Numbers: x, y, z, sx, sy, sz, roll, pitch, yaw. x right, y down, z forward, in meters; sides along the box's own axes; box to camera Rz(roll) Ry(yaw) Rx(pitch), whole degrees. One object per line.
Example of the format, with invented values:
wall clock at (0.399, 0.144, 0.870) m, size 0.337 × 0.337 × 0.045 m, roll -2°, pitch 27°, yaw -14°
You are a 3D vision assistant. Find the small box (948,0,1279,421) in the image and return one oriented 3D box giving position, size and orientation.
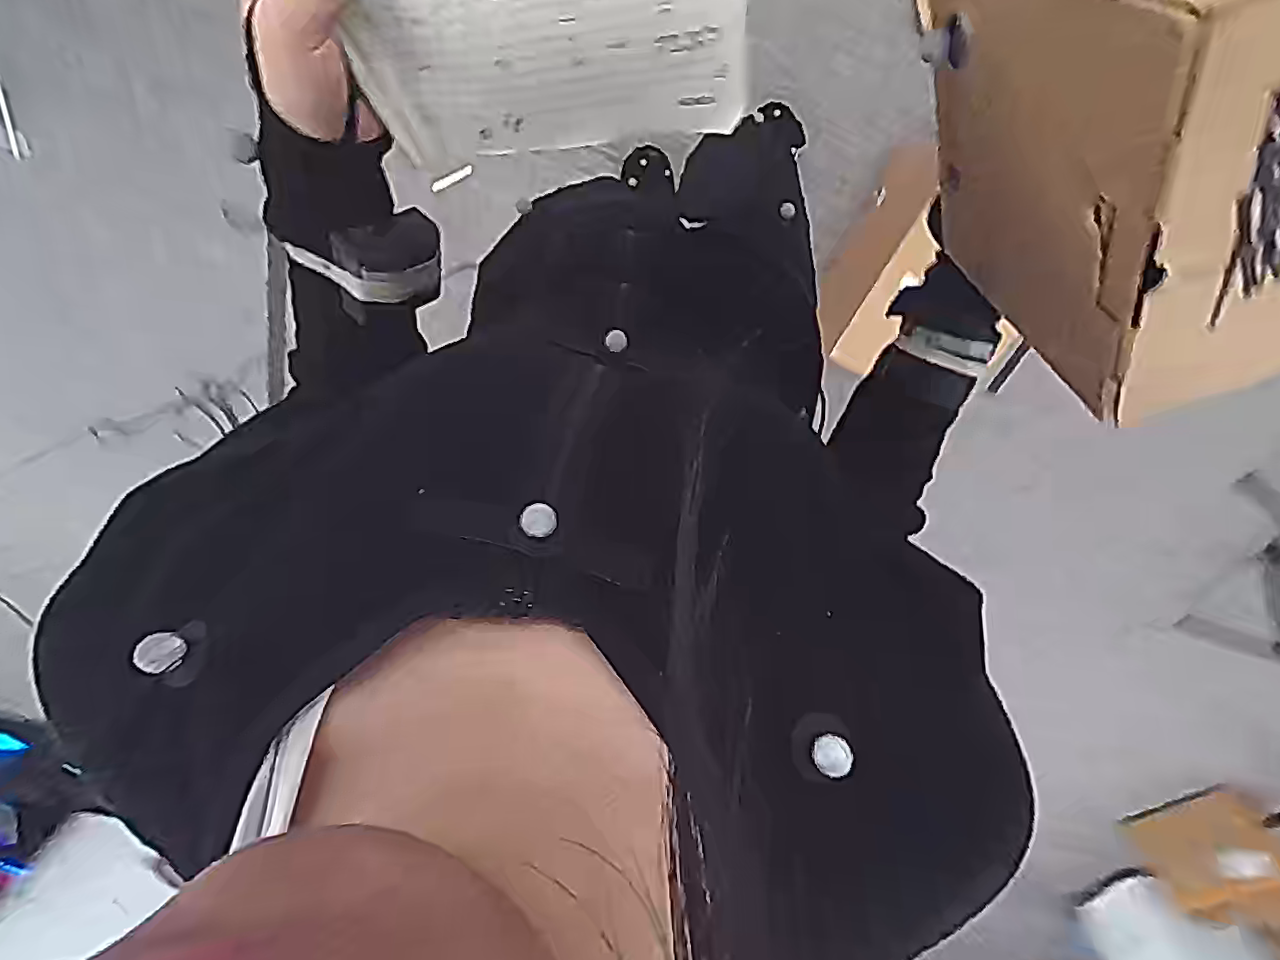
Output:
small box at (0.244, -0.161, 0.214) m, size 0.179 × 0.176 × 0.168 m, roll -22°, pitch 137°, yaw 18°
